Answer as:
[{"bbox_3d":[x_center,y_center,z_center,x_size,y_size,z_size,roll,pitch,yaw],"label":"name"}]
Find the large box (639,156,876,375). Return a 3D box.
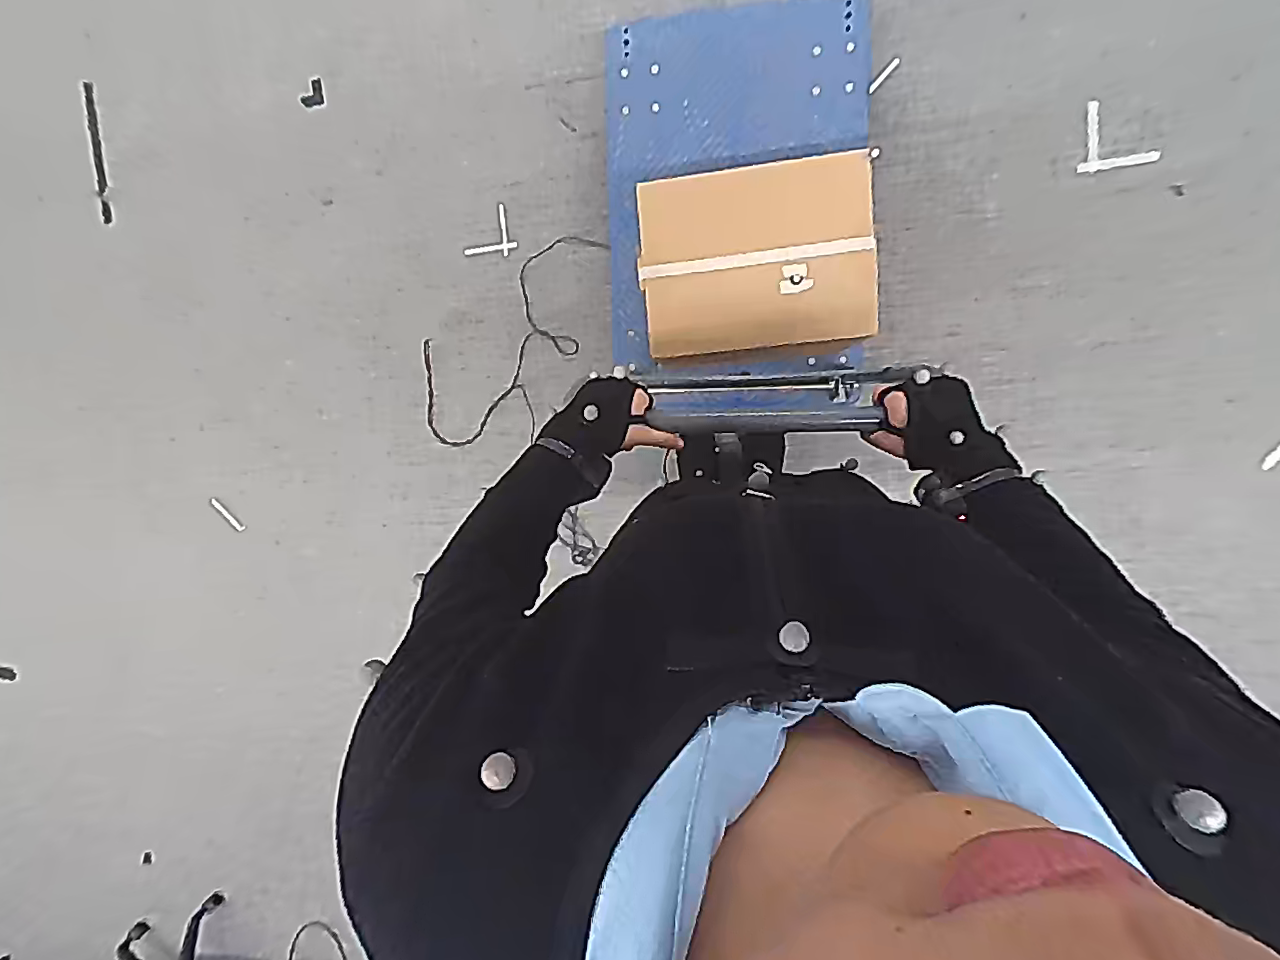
[{"bbox_3d":[0.224,-0.405,1.116,0.408,0.320,0.320,-5,97,7],"label":"large box"}]
